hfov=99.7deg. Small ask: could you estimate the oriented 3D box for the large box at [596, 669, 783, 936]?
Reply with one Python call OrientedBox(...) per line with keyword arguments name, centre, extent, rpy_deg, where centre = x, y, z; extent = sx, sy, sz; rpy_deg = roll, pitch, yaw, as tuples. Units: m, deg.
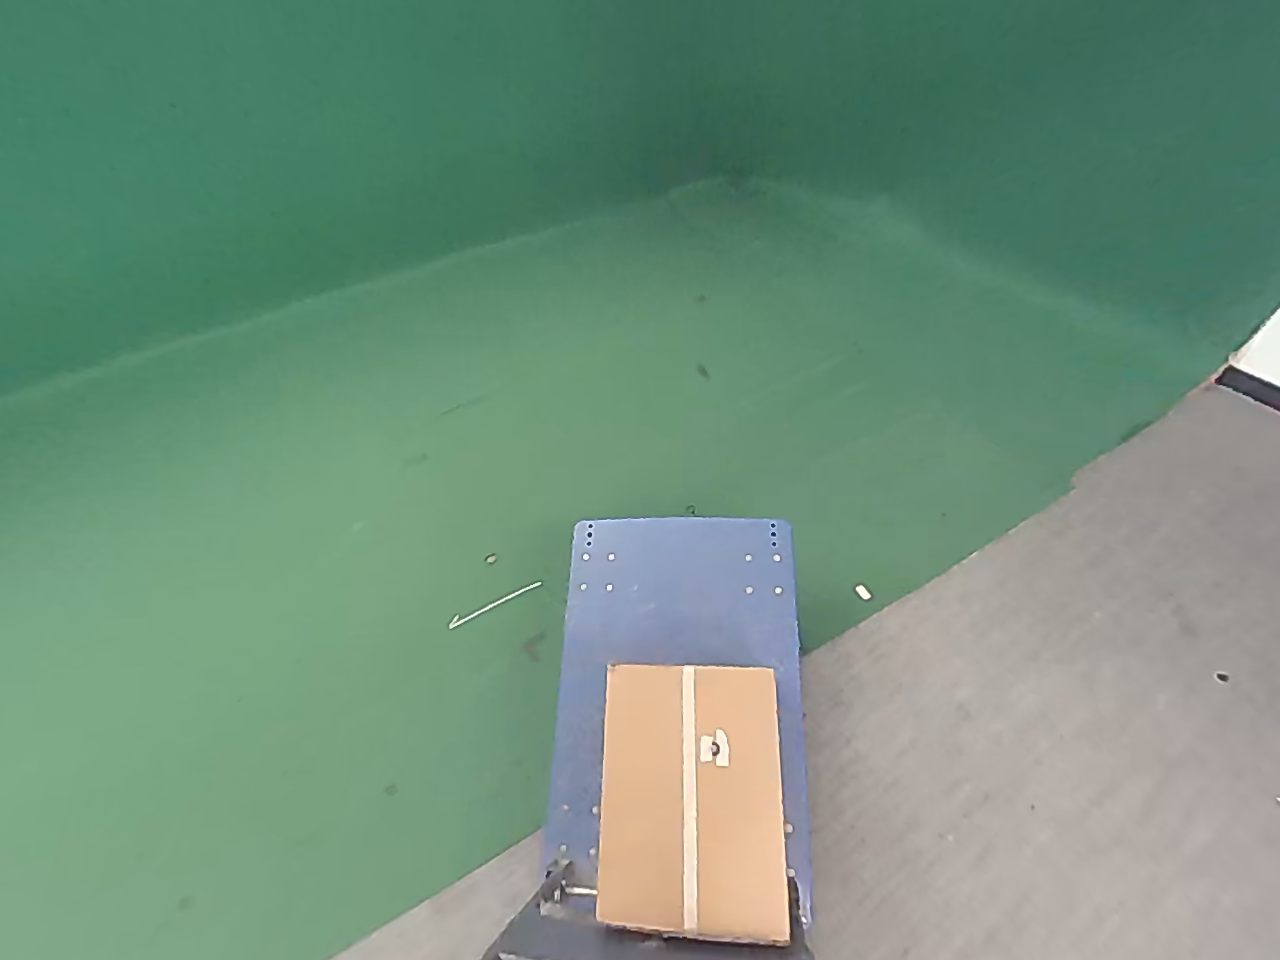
OrientedBox(name="large box", centre=(0.108, 0.603, 1.091), extent=(0.320, 0.320, 0.408), rpy_deg=(-2, 68, 10))
